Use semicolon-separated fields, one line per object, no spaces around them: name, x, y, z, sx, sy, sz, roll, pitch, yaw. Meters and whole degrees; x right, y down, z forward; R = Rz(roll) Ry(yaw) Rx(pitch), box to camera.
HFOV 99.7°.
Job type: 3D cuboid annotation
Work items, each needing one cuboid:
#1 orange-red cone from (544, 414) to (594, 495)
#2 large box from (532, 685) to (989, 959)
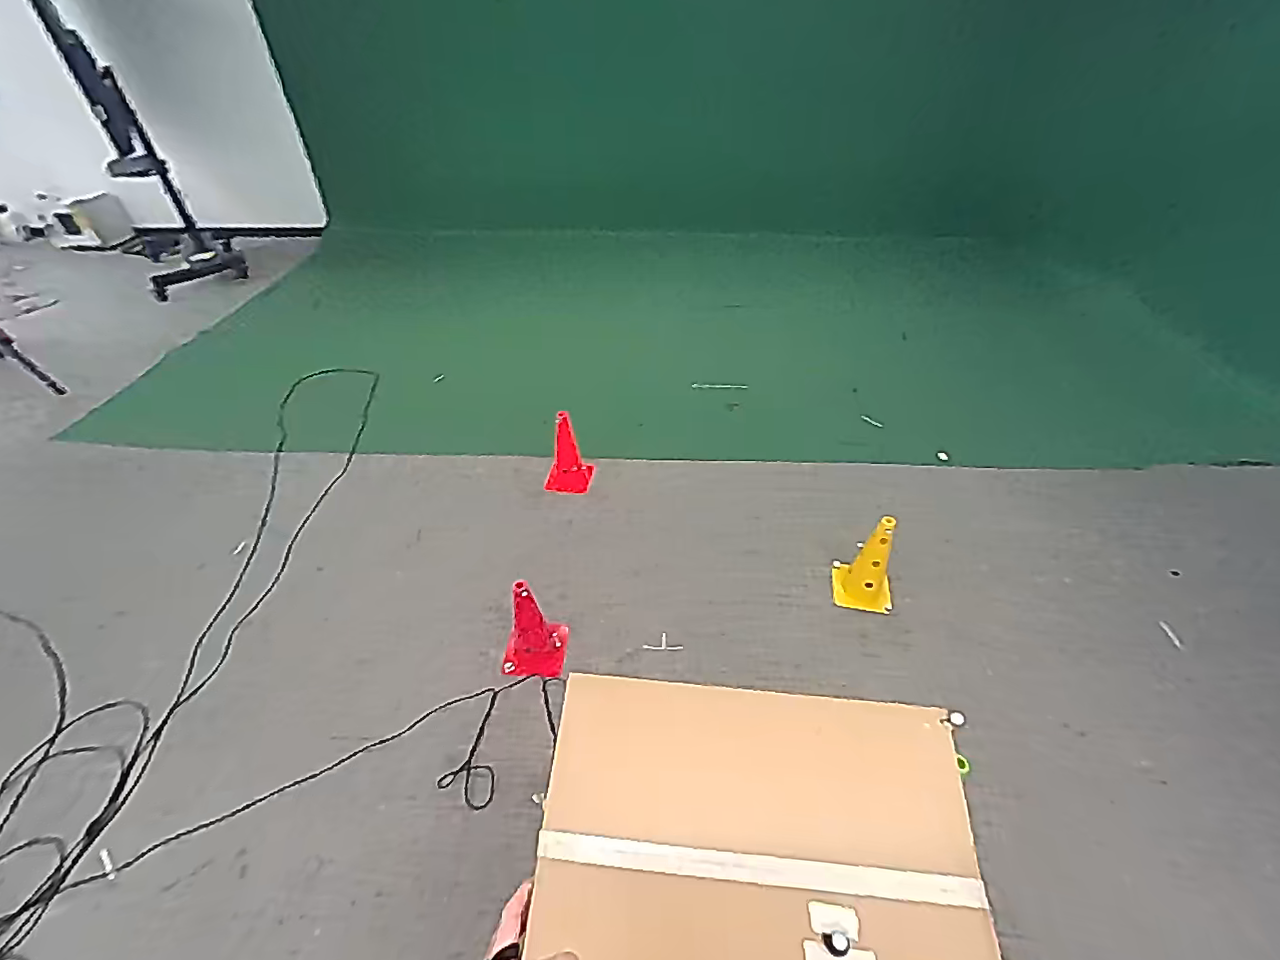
orange-red cone;-0.327;-0.132;2.356;0.199;0.360;0.198;5;41;9
large box;0.108;0.447;0.627;0.408;0.320;0.320;3;57;3
